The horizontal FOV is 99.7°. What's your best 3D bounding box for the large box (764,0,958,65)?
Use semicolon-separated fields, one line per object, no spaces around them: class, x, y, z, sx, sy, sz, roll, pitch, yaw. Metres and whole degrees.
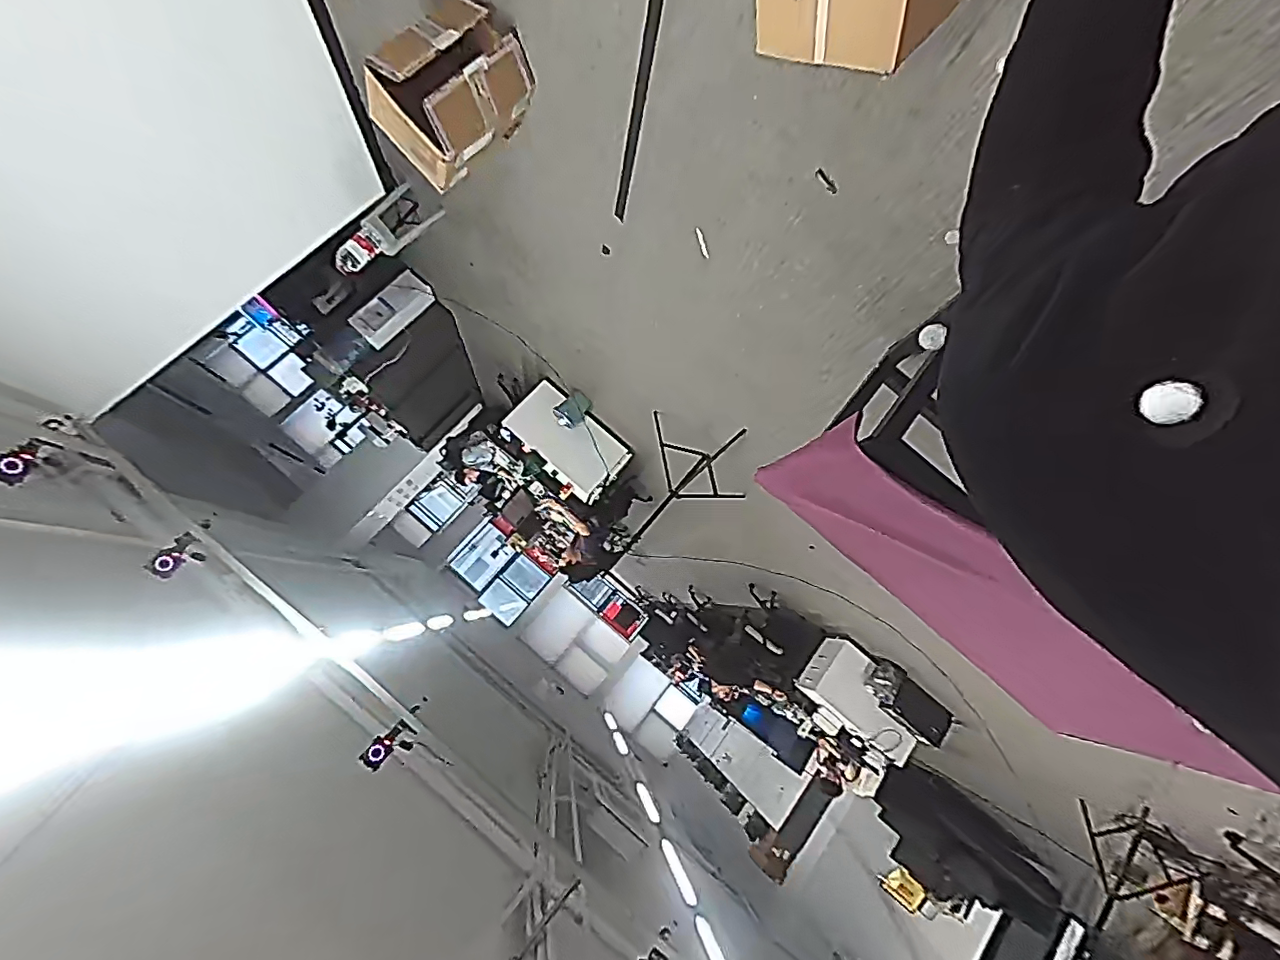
large box;0.429;-1.057;0.952;0.320;0.320;0.408;34;165;27
